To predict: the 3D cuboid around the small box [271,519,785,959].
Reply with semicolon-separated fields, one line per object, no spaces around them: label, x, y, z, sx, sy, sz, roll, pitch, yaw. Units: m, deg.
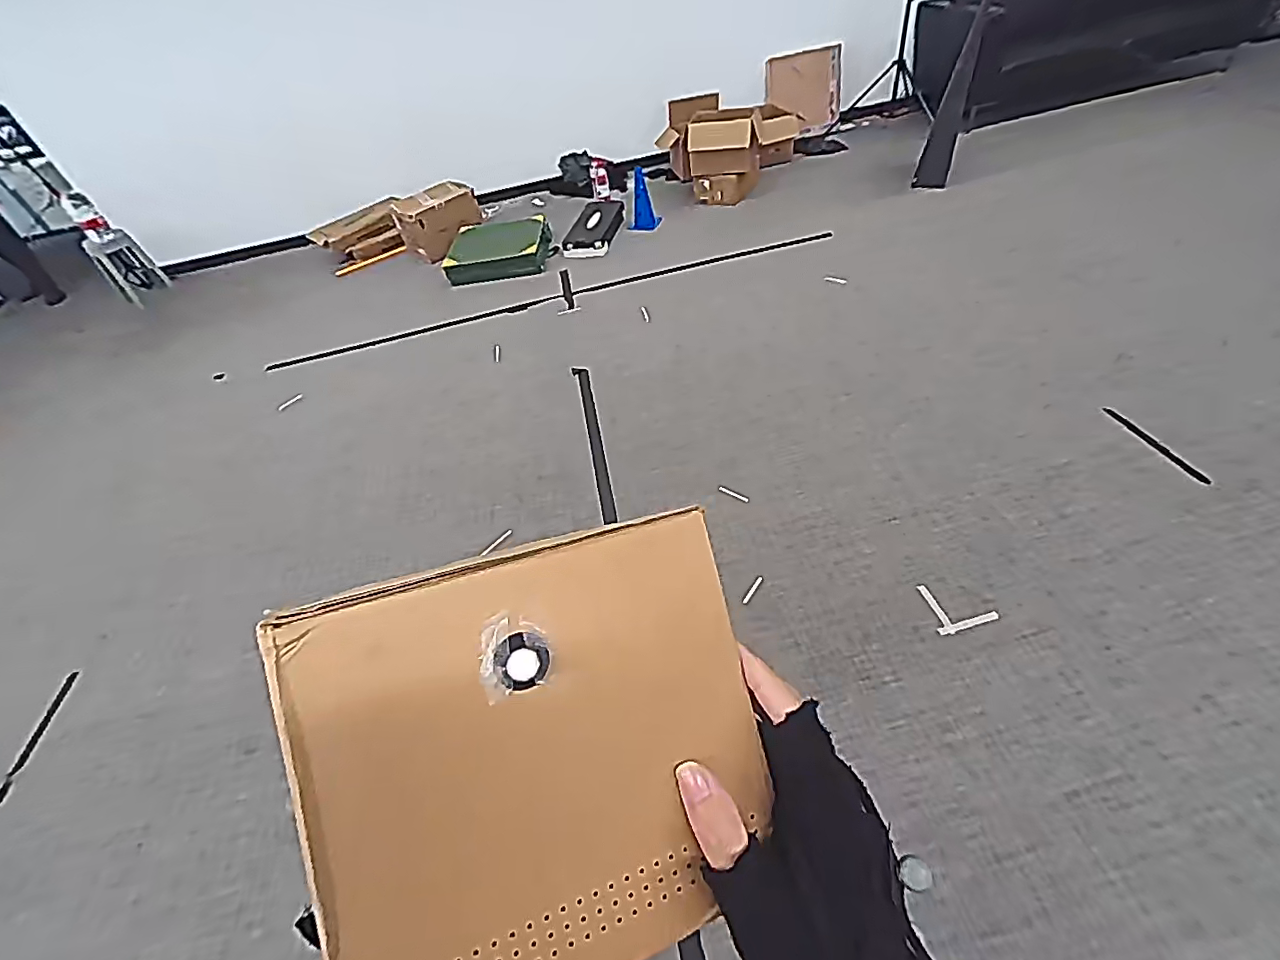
small box;-0.053;0.127;0.285;0.179;0.168;0.176;-13;87;-19
